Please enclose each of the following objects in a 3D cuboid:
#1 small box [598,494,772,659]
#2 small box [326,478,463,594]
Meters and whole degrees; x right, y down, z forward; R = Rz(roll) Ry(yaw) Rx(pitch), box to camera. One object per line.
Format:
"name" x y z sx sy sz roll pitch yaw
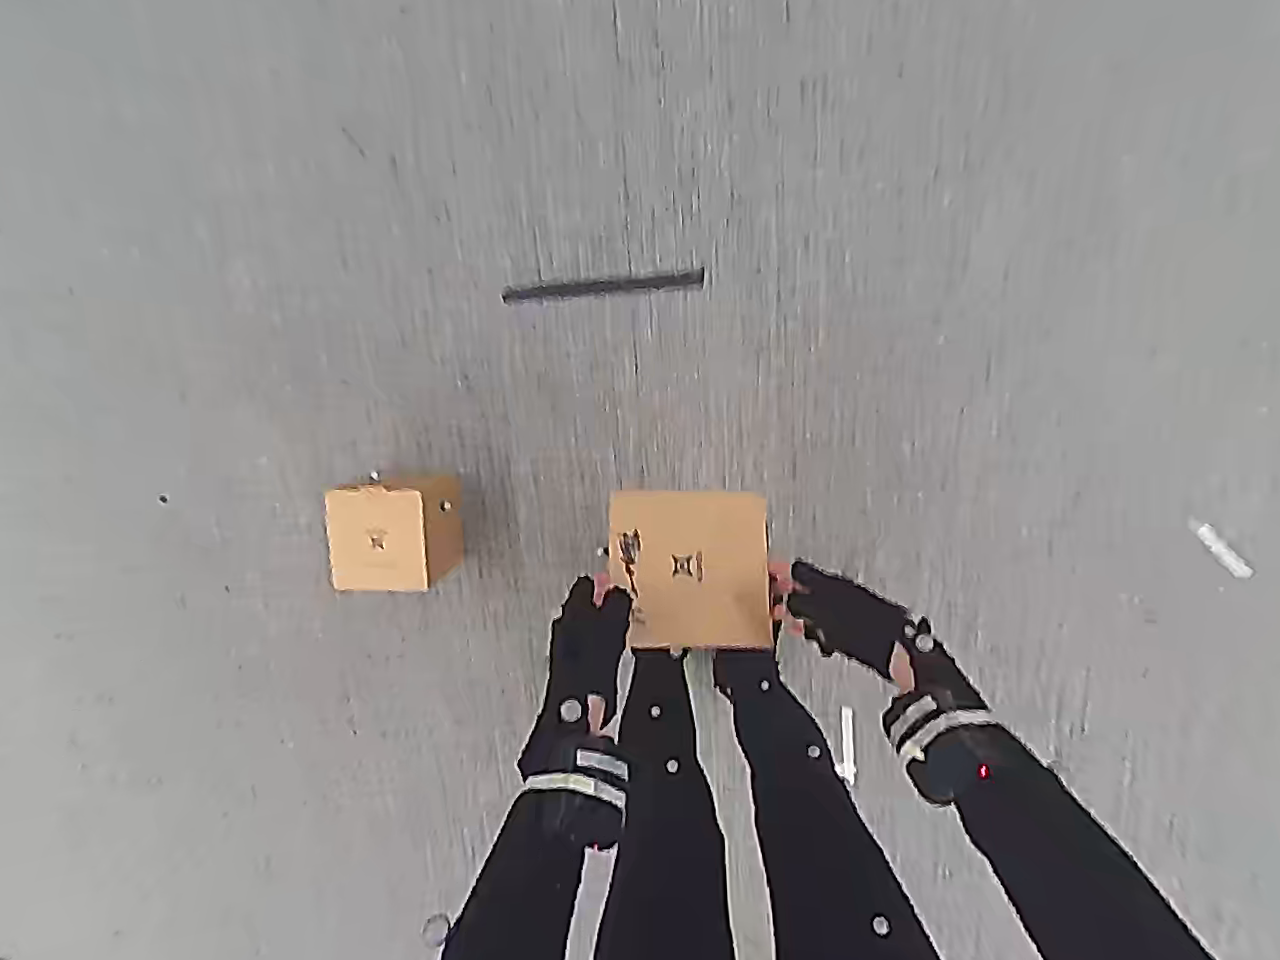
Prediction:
"small box" 0.044 0.118 0.640 0.179 0.176 0.168 3 75 -5
"small box" -0.431 0.093 0.975 0.168 0.176 0.179 0 100 3
